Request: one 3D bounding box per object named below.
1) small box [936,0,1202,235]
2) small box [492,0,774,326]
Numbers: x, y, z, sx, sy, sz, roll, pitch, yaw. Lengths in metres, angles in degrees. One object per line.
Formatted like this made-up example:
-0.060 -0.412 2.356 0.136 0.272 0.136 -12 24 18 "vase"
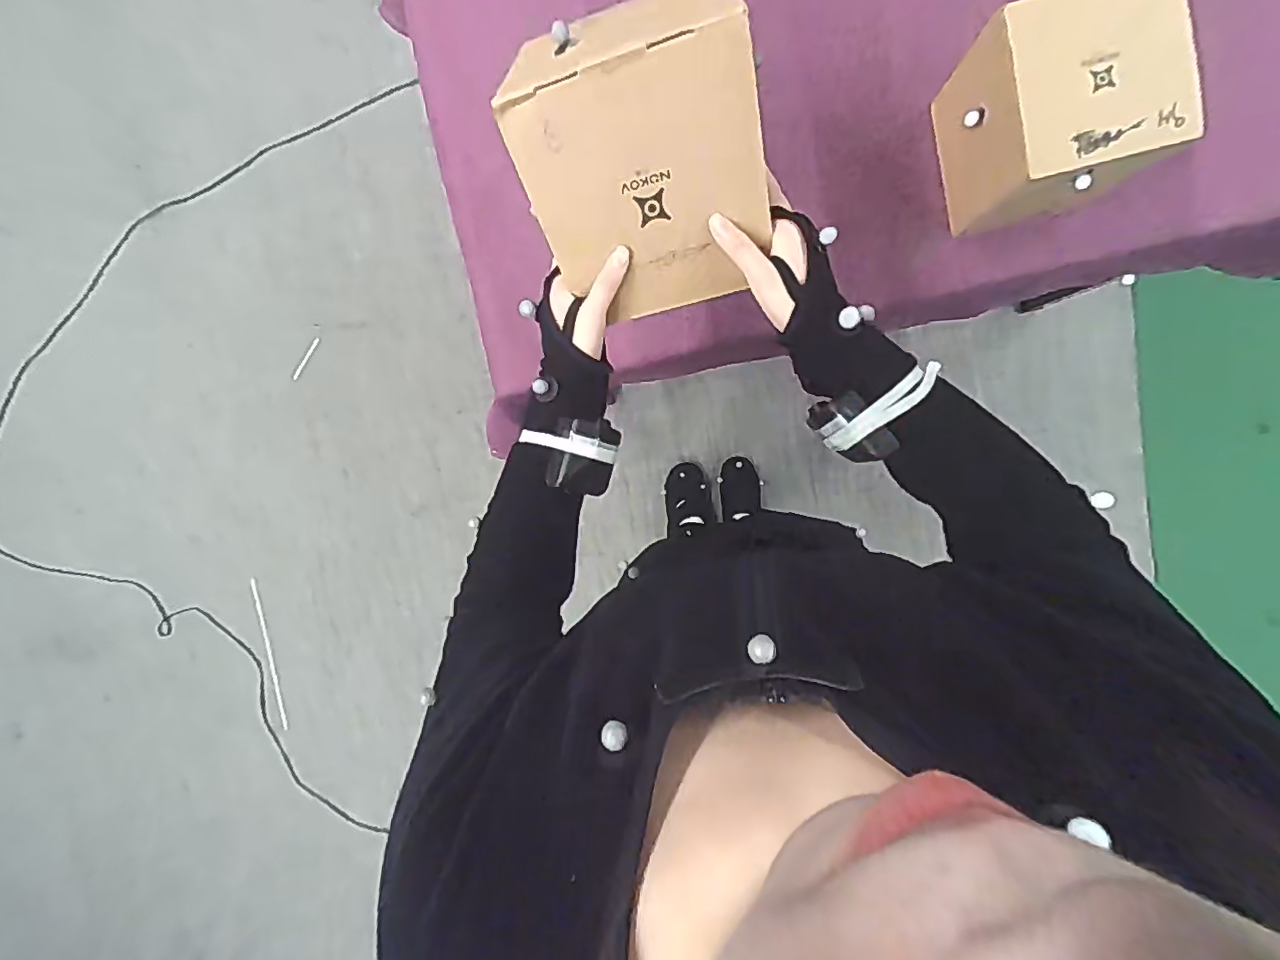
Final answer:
0.463 -0.411 0.614 0.168 0.176 0.179 -11 93 8 "small box"
0.005 -0.260 0.433 0.168 0.179 0.176 -11 51 13 "small box"
